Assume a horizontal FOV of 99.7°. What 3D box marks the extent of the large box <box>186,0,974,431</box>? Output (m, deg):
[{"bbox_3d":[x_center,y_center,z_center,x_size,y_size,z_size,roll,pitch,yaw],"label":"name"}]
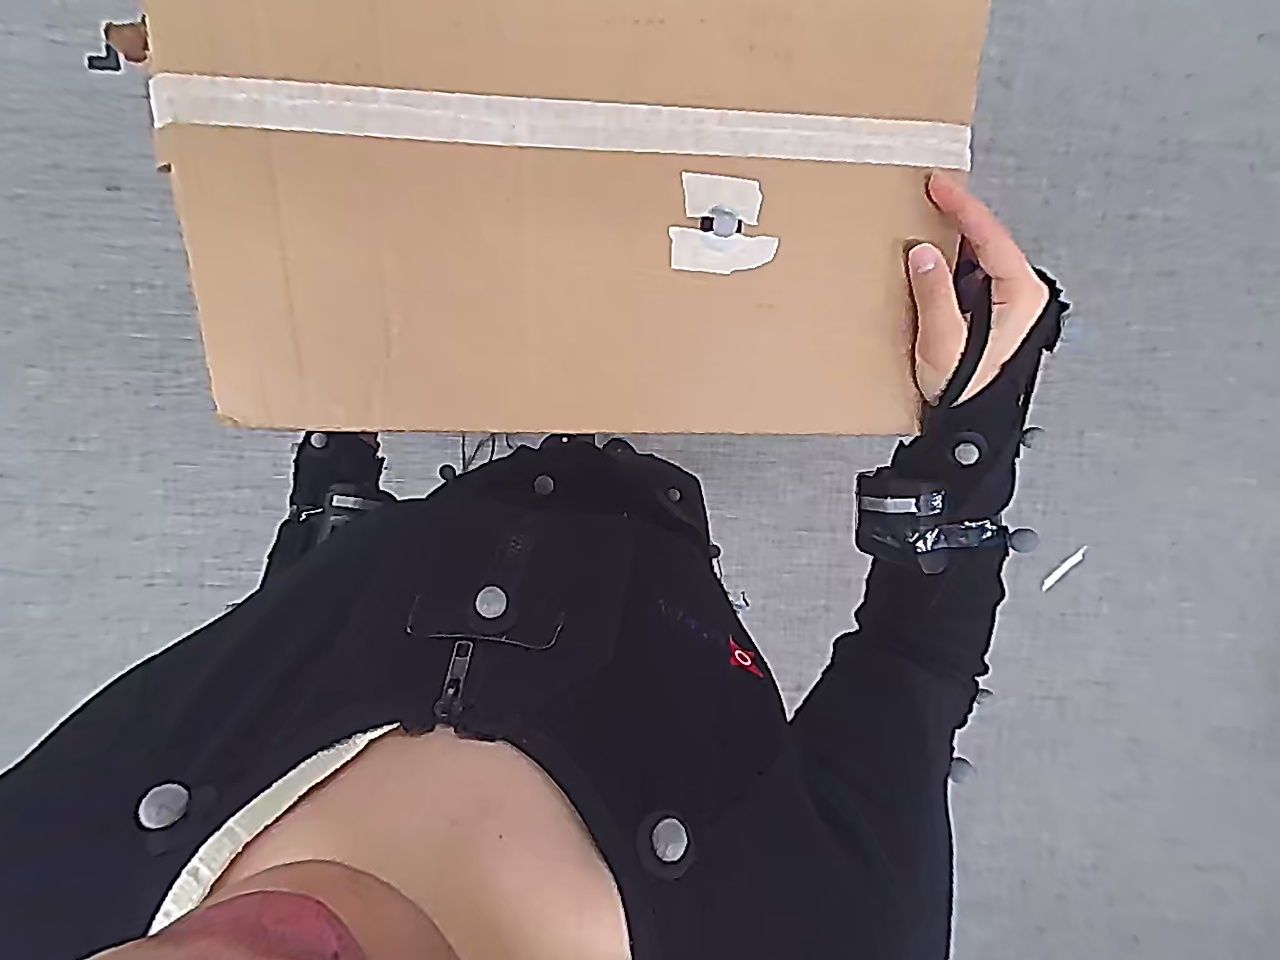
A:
[{"bbox_3d":[-0.037,-0.216,0.431,0.408,0.320,0.320,-1,104,-7],"label":"large box"}]
